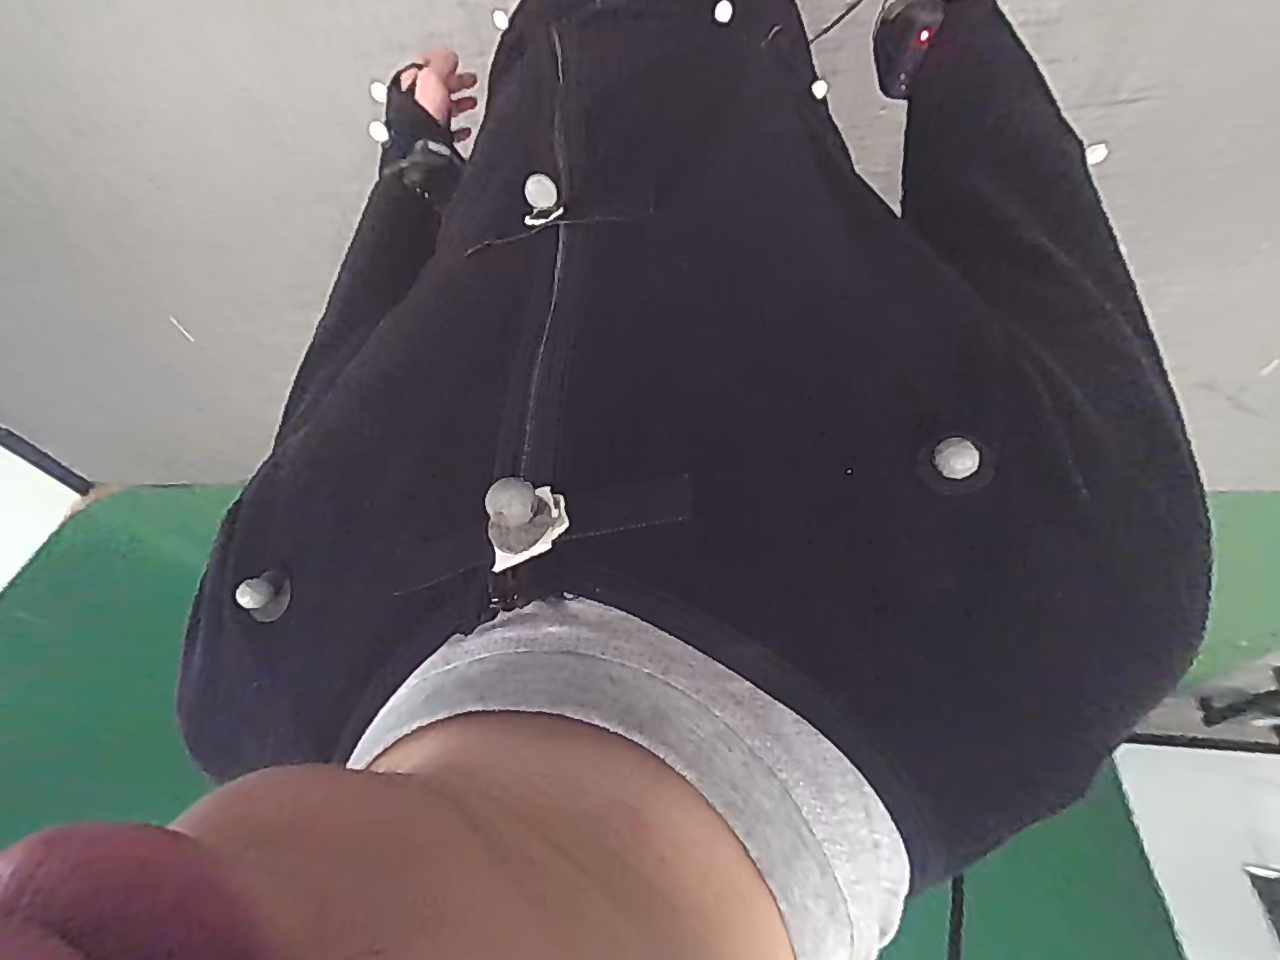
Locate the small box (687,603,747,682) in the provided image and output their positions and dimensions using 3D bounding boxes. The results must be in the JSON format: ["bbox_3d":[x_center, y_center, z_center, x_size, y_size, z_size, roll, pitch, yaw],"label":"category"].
[{"bbox_3d":[0.230,0.477,1.586,0.168,0.176,0.179,-2,141,11],"label":"small box"}]
